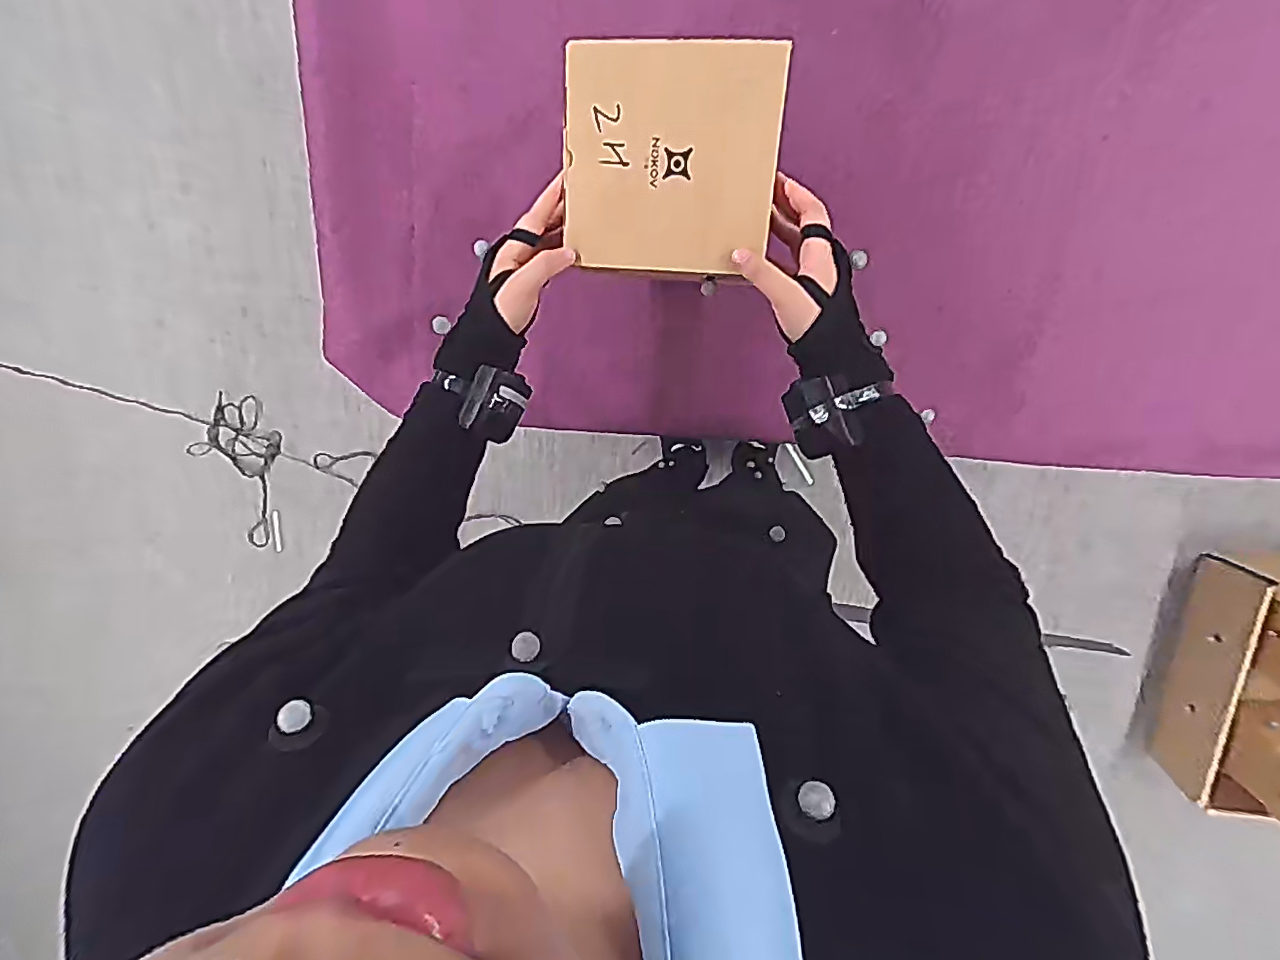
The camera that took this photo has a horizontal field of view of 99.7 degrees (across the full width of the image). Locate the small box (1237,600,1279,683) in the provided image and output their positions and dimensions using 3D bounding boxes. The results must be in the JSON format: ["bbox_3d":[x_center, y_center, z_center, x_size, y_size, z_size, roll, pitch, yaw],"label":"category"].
[{"bbox_3d":[1.548,0.391,1.220,0.179,0.176,0.168,11,108,6],"label":"small box"}]

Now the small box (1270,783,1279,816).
[{"bbox_3d":[1.518,0.704,1.138,0.179,0.176,0.168,1,106,8],"label":"small box"}]

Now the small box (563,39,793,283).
[{"bbox_3d":[0.035,-0.280,0.510,0.179,0.176,0.168,6,108,8],"label":"small box"}]
